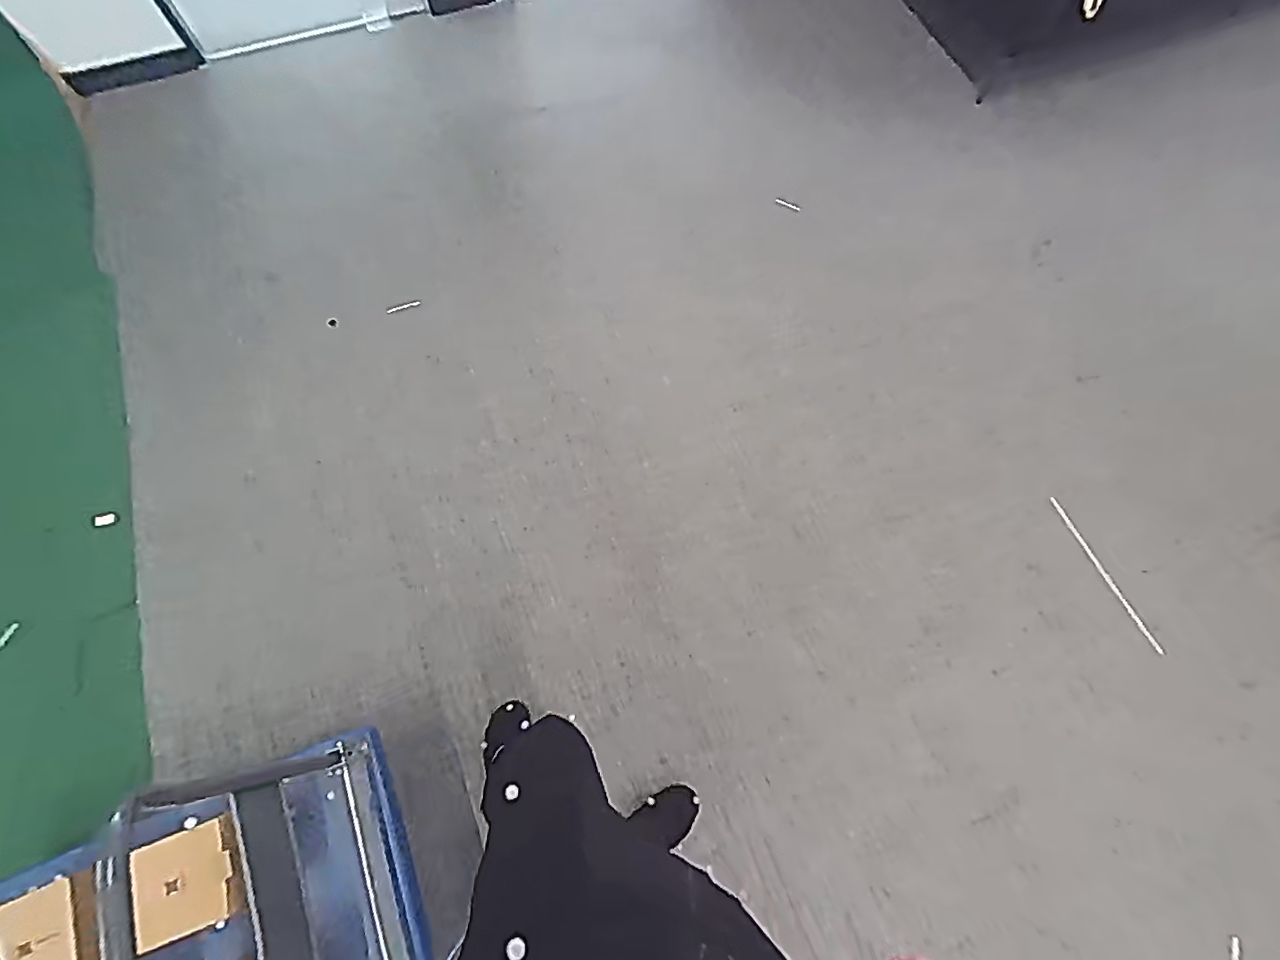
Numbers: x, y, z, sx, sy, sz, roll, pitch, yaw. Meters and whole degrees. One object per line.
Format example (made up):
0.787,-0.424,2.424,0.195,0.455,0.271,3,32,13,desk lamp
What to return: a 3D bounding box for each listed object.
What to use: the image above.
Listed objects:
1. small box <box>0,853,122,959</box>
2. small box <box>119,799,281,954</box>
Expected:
-1.061,0.821,0.992,0.179,0.176,0.168,-22,72,-11,small box
-0.830,0.741,1.032,0.179,0.176,0.168,-19,71,-10,small box
